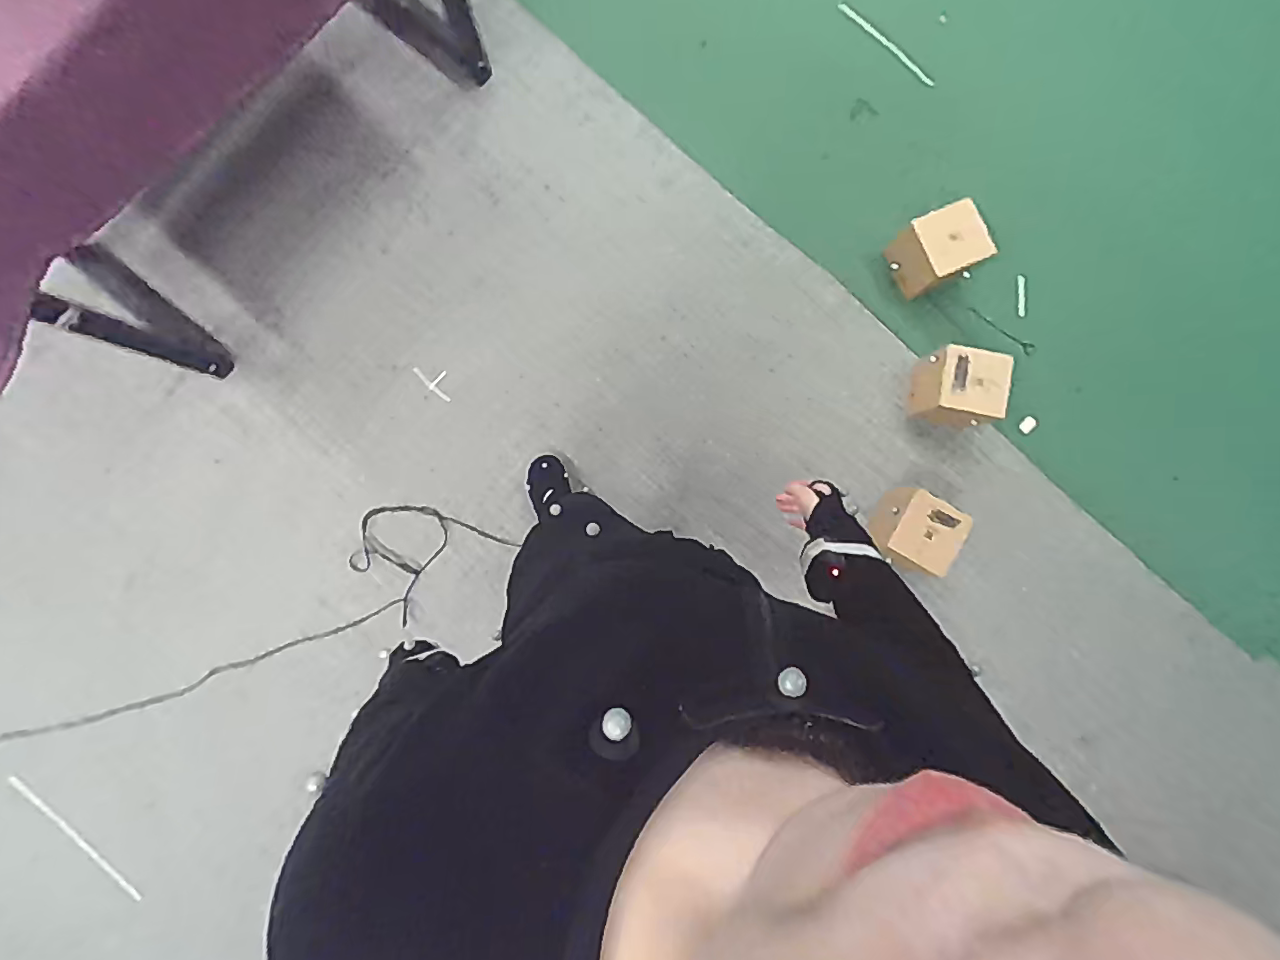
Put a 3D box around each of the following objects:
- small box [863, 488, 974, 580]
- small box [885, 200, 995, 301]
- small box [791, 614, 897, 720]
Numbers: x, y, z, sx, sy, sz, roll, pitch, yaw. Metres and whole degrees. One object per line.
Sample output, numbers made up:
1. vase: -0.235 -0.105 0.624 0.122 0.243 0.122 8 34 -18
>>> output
1. small box: 0.726 0.138 1.430 0.168 0.176 0.179 31 87 1
2. small box: 0.815 -0.622 1.484 0.179 0.176 0.168 -23 87 -2
3. small box: 0.517 0.476 1.405 0.168 0.176 0.179 43 87 1
